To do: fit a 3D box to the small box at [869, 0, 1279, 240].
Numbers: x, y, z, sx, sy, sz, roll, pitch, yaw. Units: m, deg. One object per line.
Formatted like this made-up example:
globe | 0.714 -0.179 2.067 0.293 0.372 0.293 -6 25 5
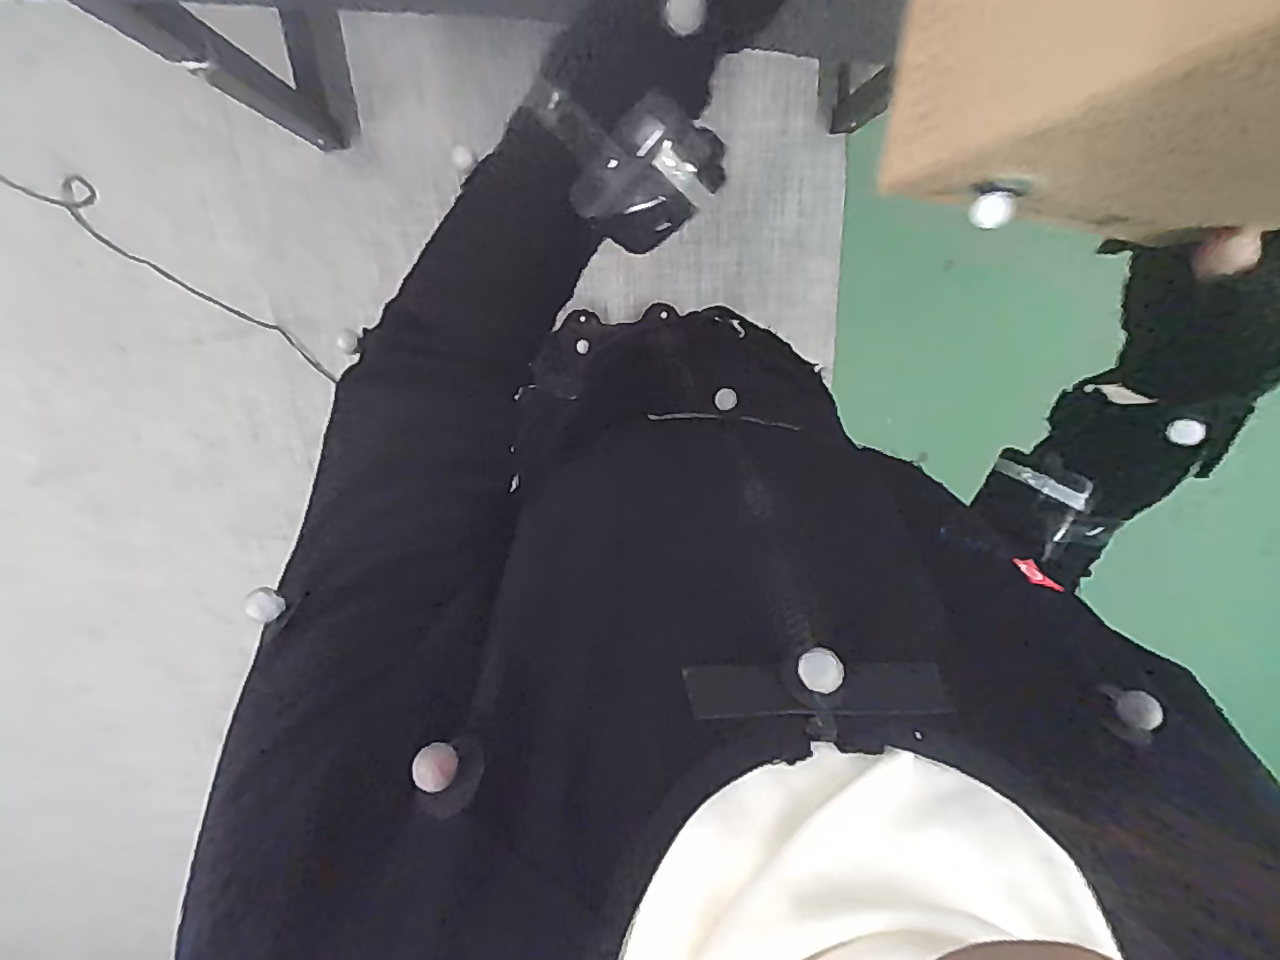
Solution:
small box | 0.199 -0.186 0.164 0.168 0.176 0.179 3 103 -15
